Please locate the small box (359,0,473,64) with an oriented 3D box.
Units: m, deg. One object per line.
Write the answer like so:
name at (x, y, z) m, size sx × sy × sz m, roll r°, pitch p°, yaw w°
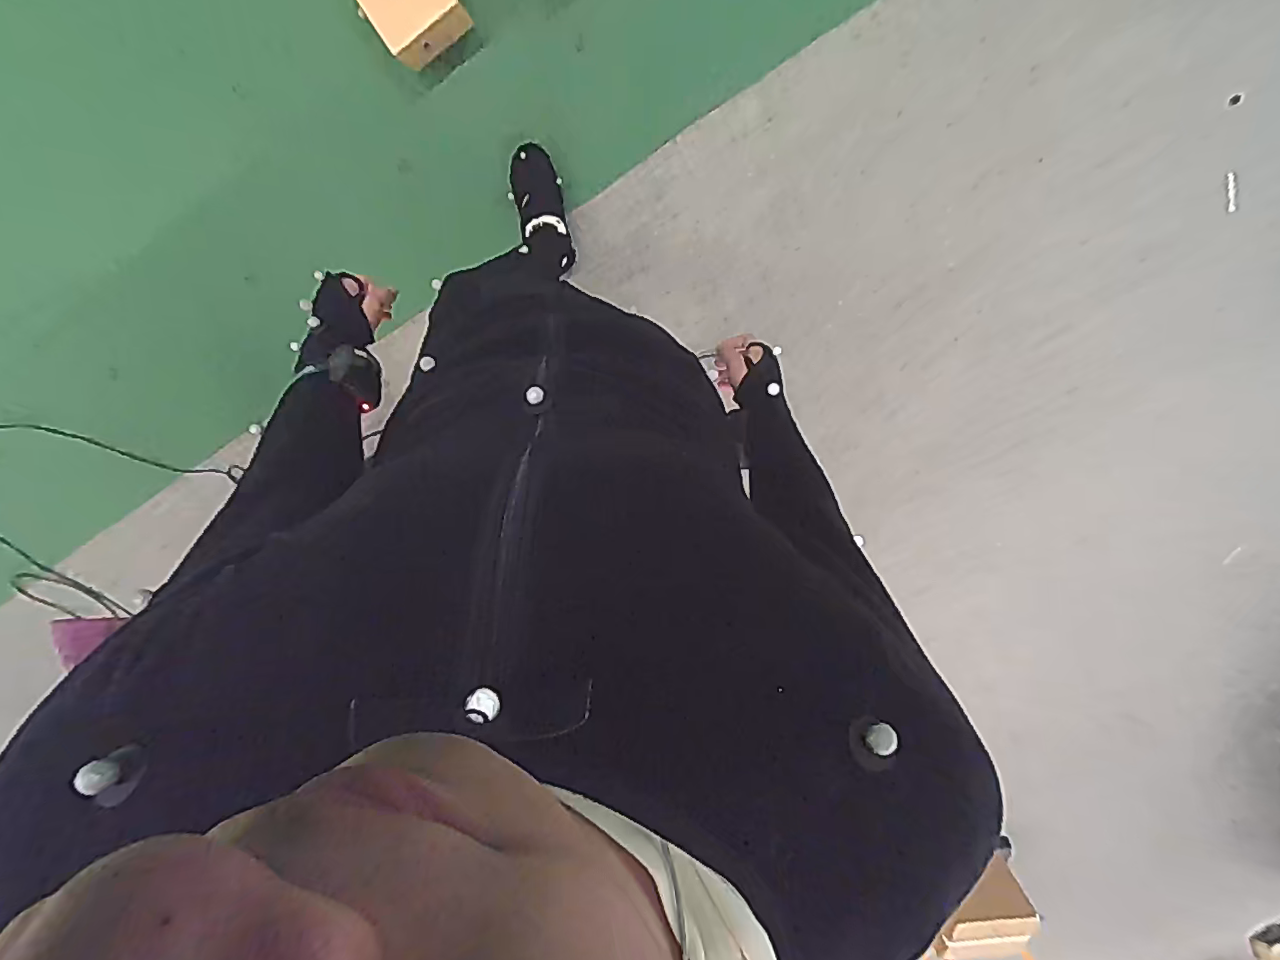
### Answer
small box at (-0.467, -0.988, 1.096) m, size 0.168 × 0.176 × 0.179 m, roll -31°, pitch 115°, yaw 11°
